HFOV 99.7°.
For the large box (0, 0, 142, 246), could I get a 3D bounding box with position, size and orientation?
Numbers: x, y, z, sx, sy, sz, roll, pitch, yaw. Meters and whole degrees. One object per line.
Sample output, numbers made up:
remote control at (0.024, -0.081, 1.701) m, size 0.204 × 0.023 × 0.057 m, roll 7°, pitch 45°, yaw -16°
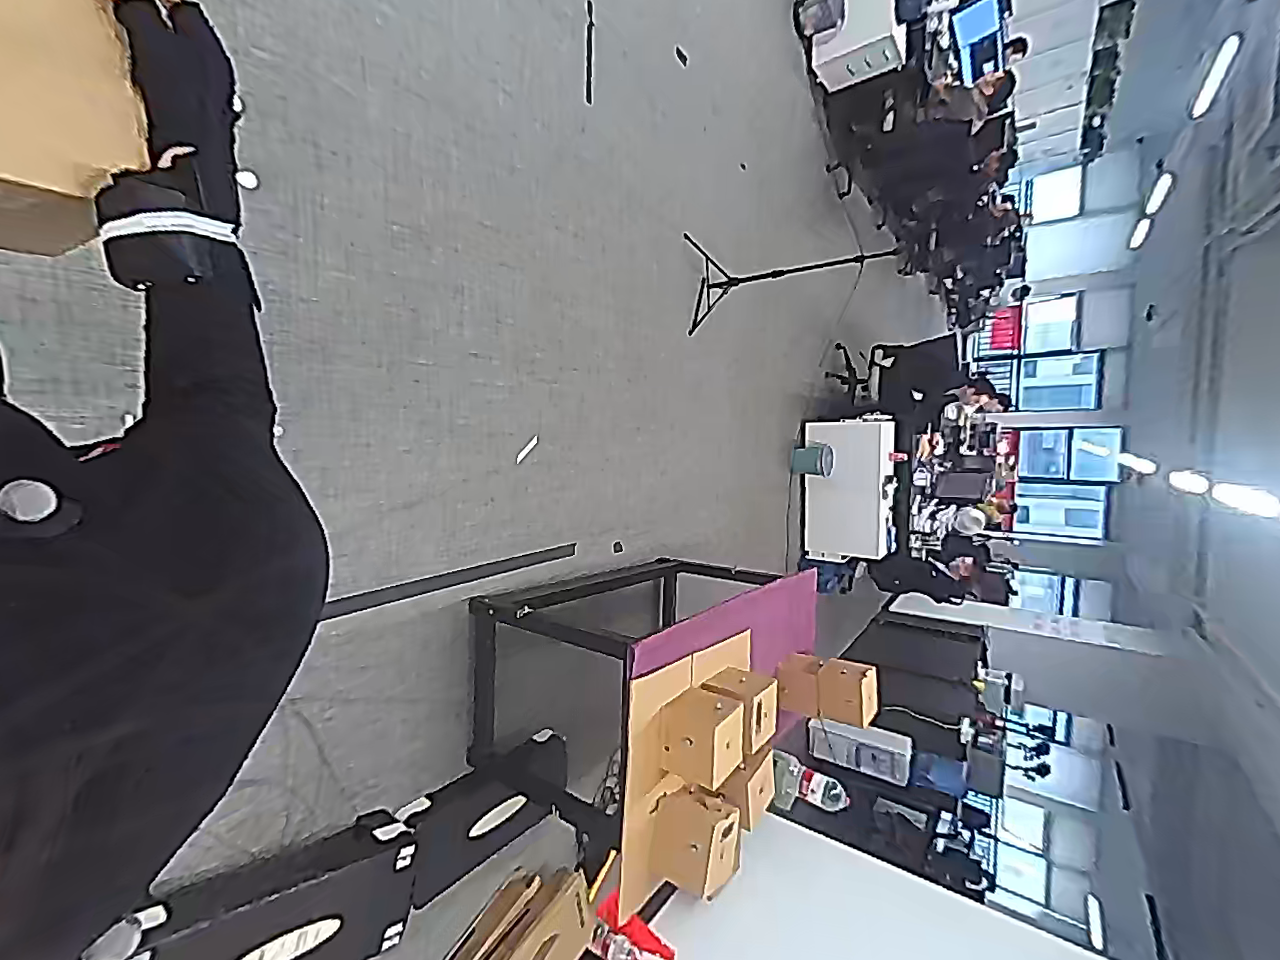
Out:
large box at (-0.605, -0.353, 0.302) m, size 0.408 × 0.320 × 0.320 m, roll -10°, pitch 106°, yaw -56°
